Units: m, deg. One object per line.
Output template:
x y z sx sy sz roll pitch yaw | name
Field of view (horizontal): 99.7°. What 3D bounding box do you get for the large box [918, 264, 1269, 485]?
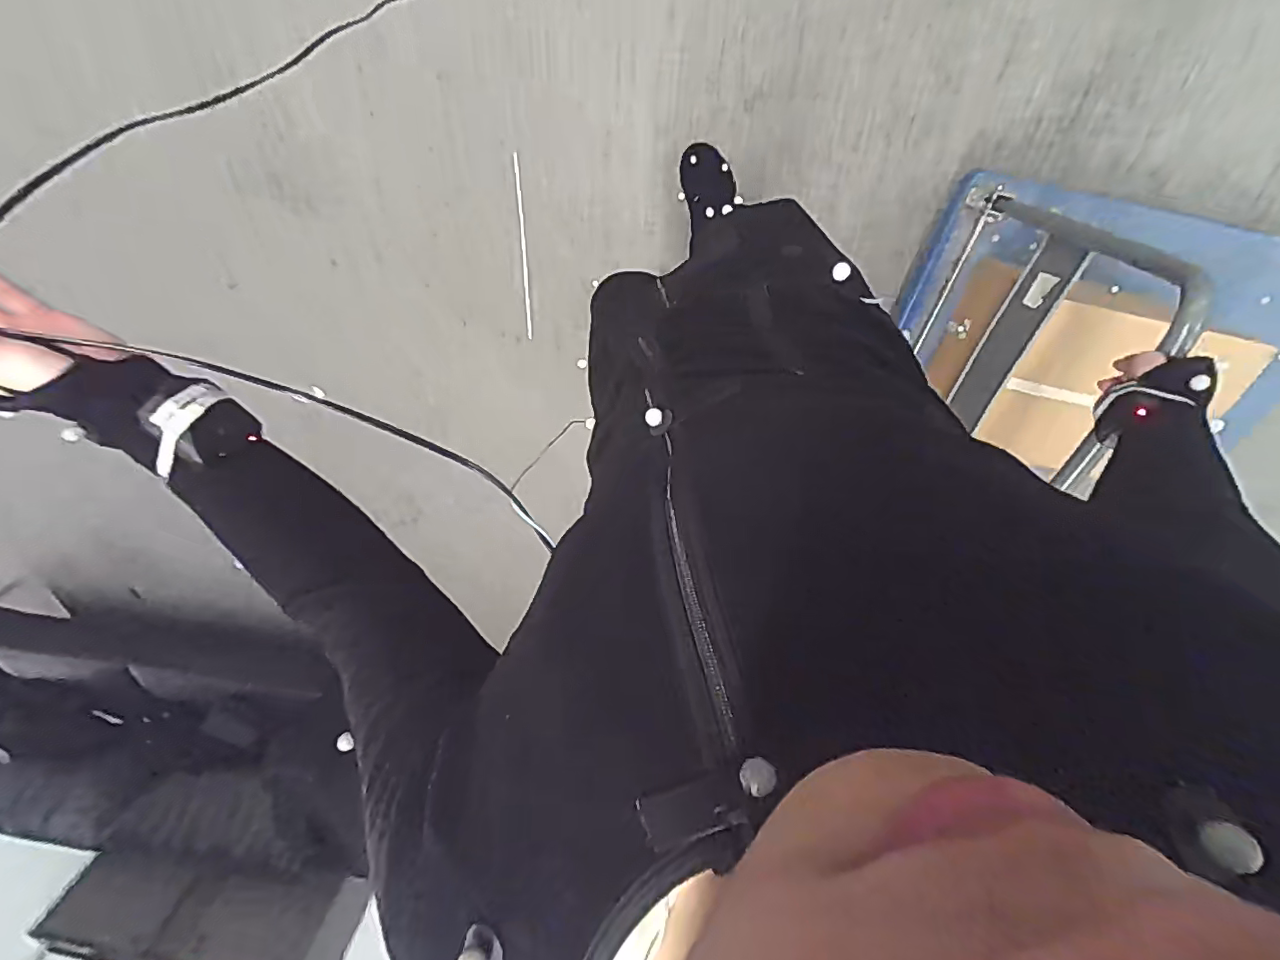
0.883 -0.234 1.139 0.408 0.320 0.320 13 125 1 | large box
